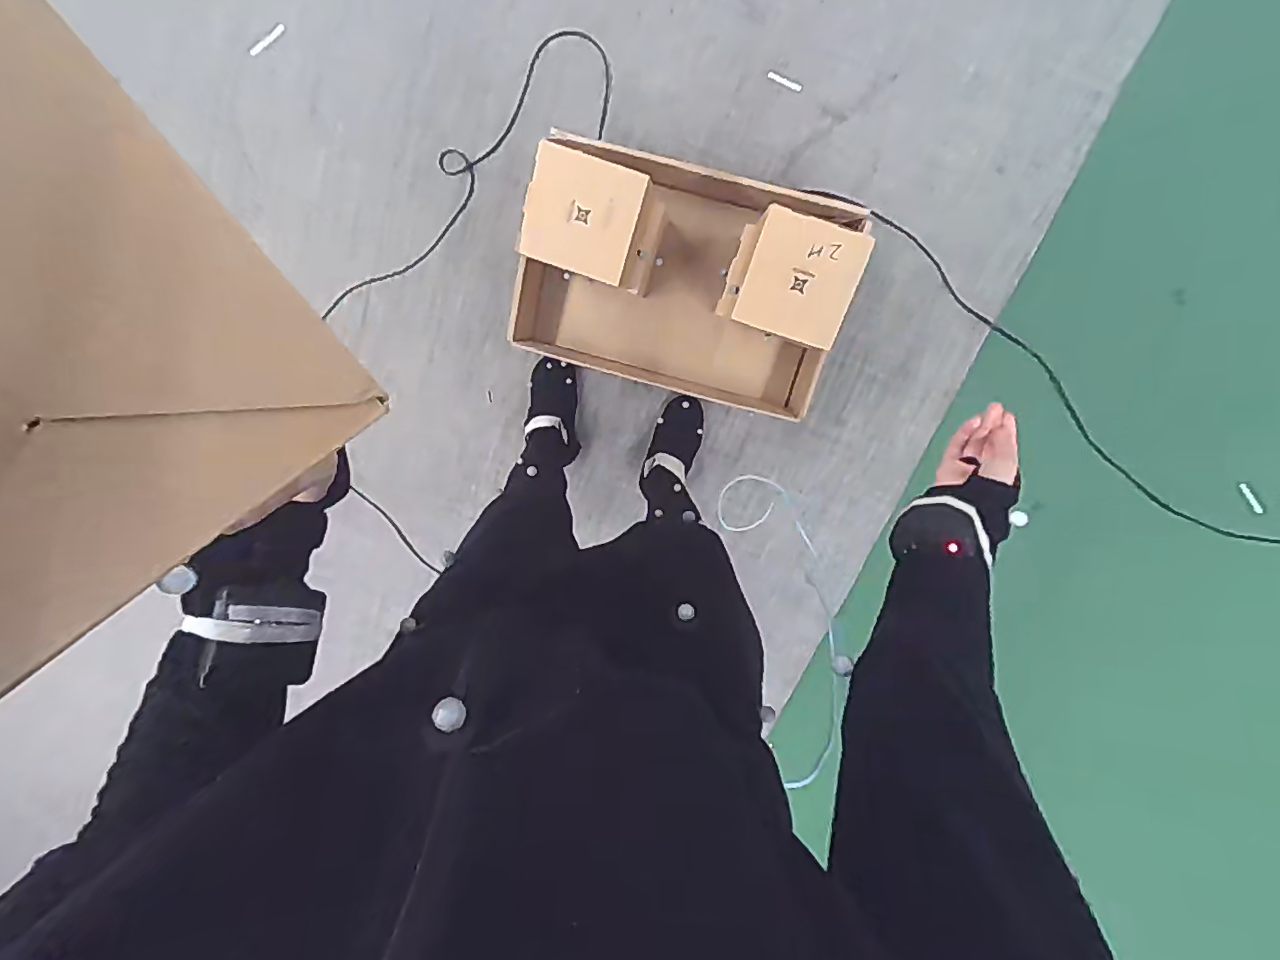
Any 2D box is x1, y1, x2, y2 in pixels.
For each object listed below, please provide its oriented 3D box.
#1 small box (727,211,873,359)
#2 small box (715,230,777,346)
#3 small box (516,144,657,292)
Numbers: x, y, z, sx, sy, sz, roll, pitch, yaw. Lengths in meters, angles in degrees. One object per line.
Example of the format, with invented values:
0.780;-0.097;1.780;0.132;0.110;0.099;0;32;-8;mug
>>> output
0.252;-0.315;0.902;0.168;0.176;0.179;20;105;-1;small box
0.254;-0.364;1.060;0.179;0.176;0.168;20;106;1;small box
-0.081;-0.424;0.906;0.179;0.176;0.168;20;107;-1;small box
